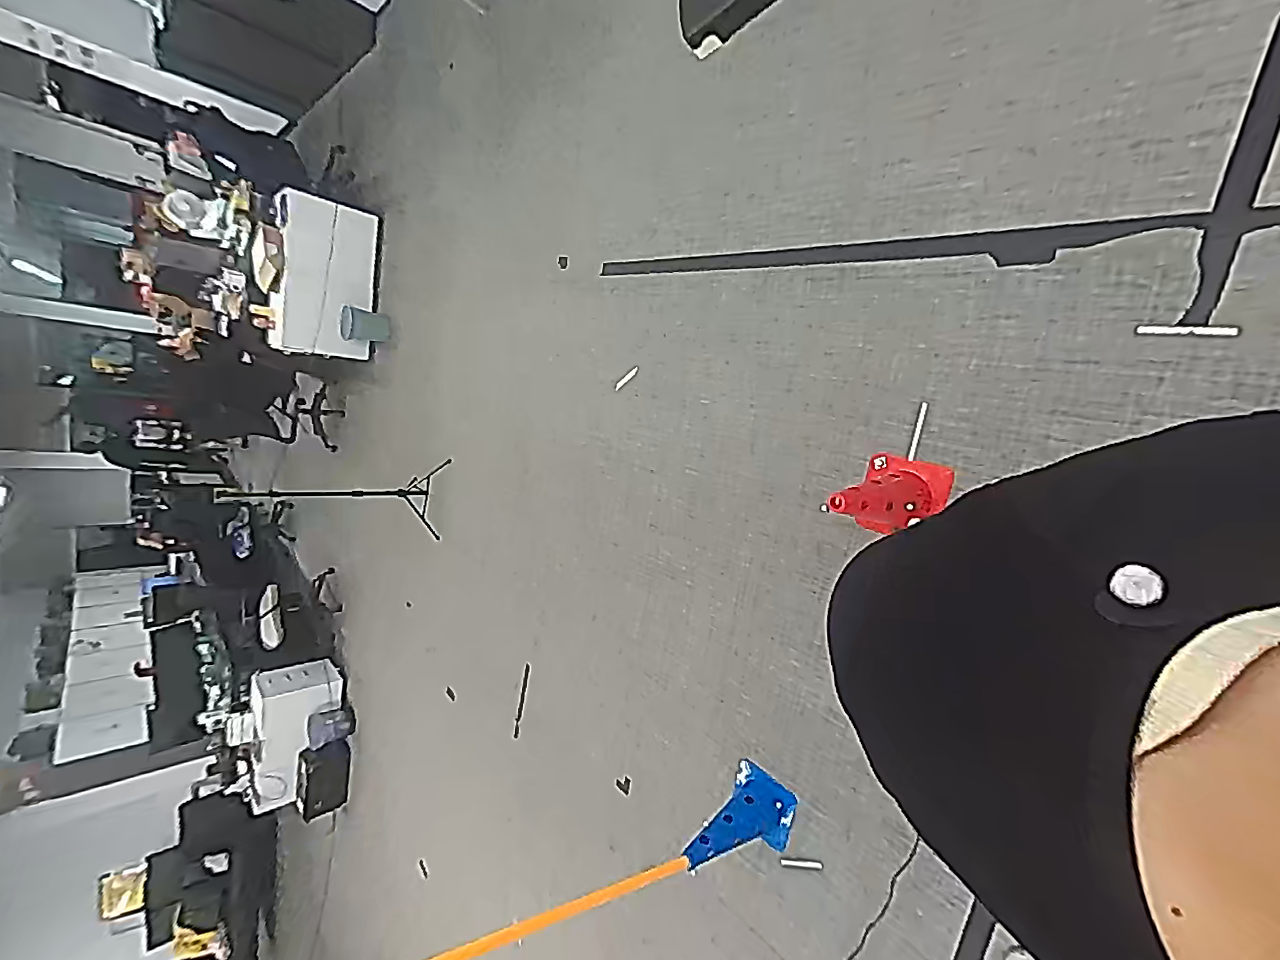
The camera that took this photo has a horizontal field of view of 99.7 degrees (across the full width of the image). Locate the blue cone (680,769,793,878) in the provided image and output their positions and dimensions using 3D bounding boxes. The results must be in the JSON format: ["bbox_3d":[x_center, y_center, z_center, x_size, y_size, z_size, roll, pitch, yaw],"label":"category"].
[{"bbox_3d":[0.251,0.997,1.521,0.193,0.380,0.192,24,107,44],"label":"blue cone"}]
